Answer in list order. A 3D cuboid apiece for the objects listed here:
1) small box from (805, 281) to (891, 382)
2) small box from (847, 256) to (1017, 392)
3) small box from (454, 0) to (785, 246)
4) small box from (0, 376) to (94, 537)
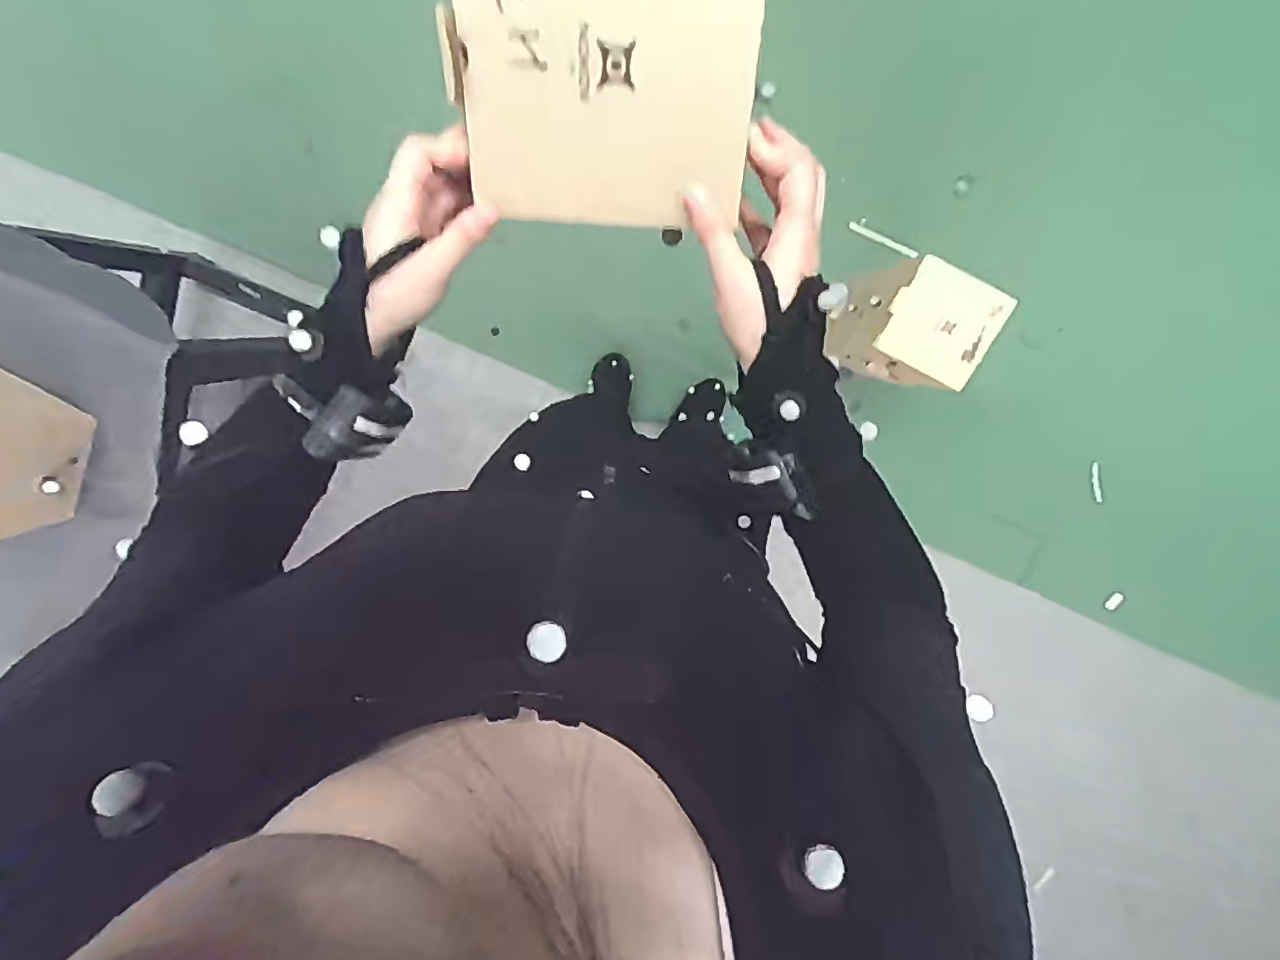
[{"bbox_3d":[0.524,-0.354,1.285,0.179,0.176,0.168,27,105,-5],"label":"small box"},{"bbox_3d":[0.505,-0.272,0.967,0.179,0.176,0.168,26,104,-5],"label":"small box"},{"bbox_3d":[-0.004,-0.264,0.364,0.179,0.176,0.168,6,123,6],"label":"small box"},{"bbox_3d":[-0.840,-0.028,0.653,0.179,0.176,0.168,29,105,-4],"label":"small box"}]
